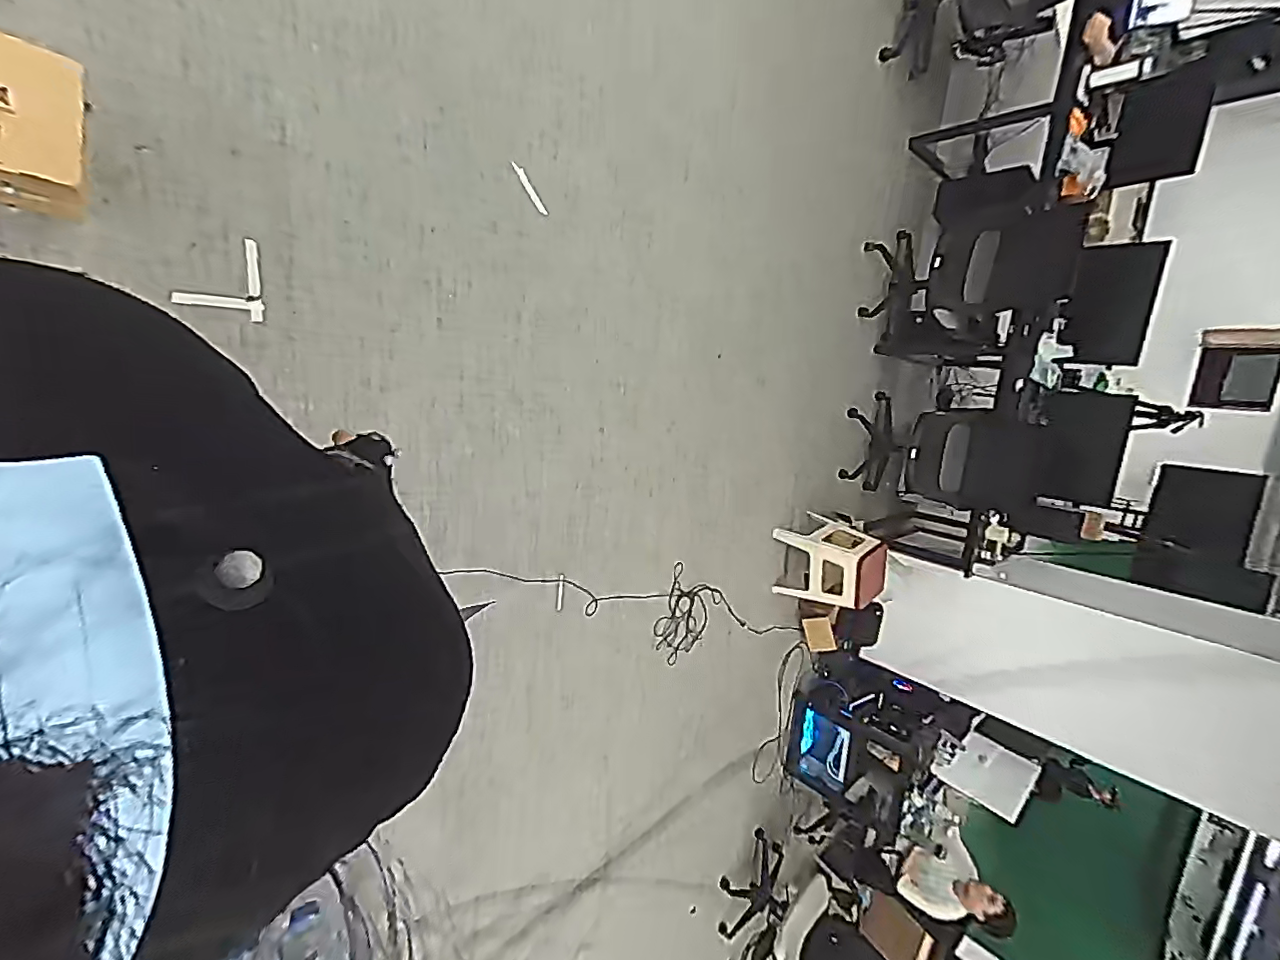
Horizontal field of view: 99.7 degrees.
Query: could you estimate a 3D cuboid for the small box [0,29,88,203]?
[{"bbox_3d":[-0.919,-0.529,0.777,0.168,0.176,0.179,3,100,-43],"label":"small box"}]
